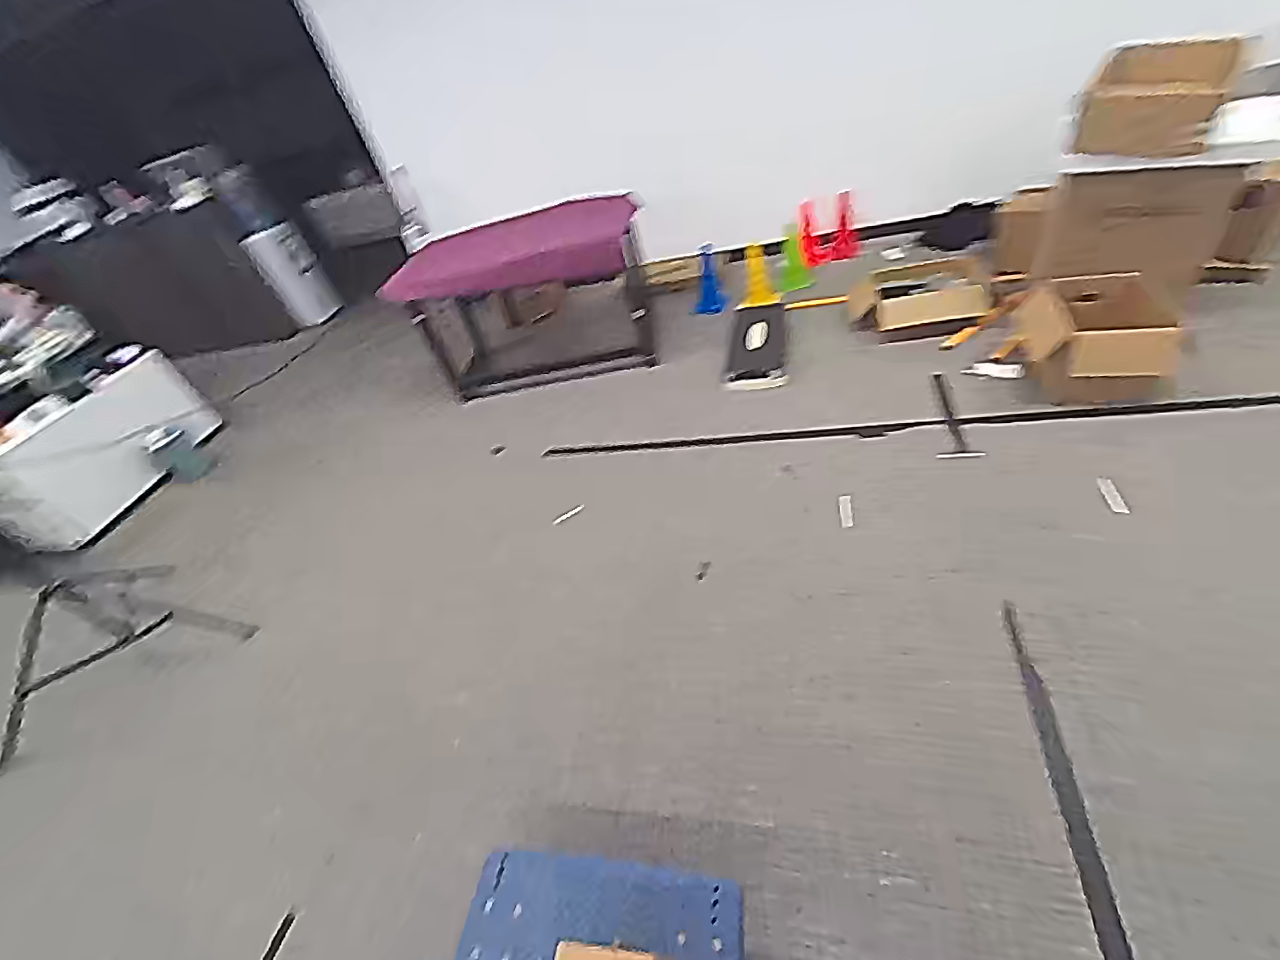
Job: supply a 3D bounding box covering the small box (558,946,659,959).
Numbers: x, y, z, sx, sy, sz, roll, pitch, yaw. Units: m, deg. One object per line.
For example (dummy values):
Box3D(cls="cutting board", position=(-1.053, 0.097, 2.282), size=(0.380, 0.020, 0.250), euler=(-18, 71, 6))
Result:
Box3D(cls="small box", position=(-0.047, 0.920, 0.917), size=(0.179, 0.176, 0.168), euler=(-5, 43, 13))
